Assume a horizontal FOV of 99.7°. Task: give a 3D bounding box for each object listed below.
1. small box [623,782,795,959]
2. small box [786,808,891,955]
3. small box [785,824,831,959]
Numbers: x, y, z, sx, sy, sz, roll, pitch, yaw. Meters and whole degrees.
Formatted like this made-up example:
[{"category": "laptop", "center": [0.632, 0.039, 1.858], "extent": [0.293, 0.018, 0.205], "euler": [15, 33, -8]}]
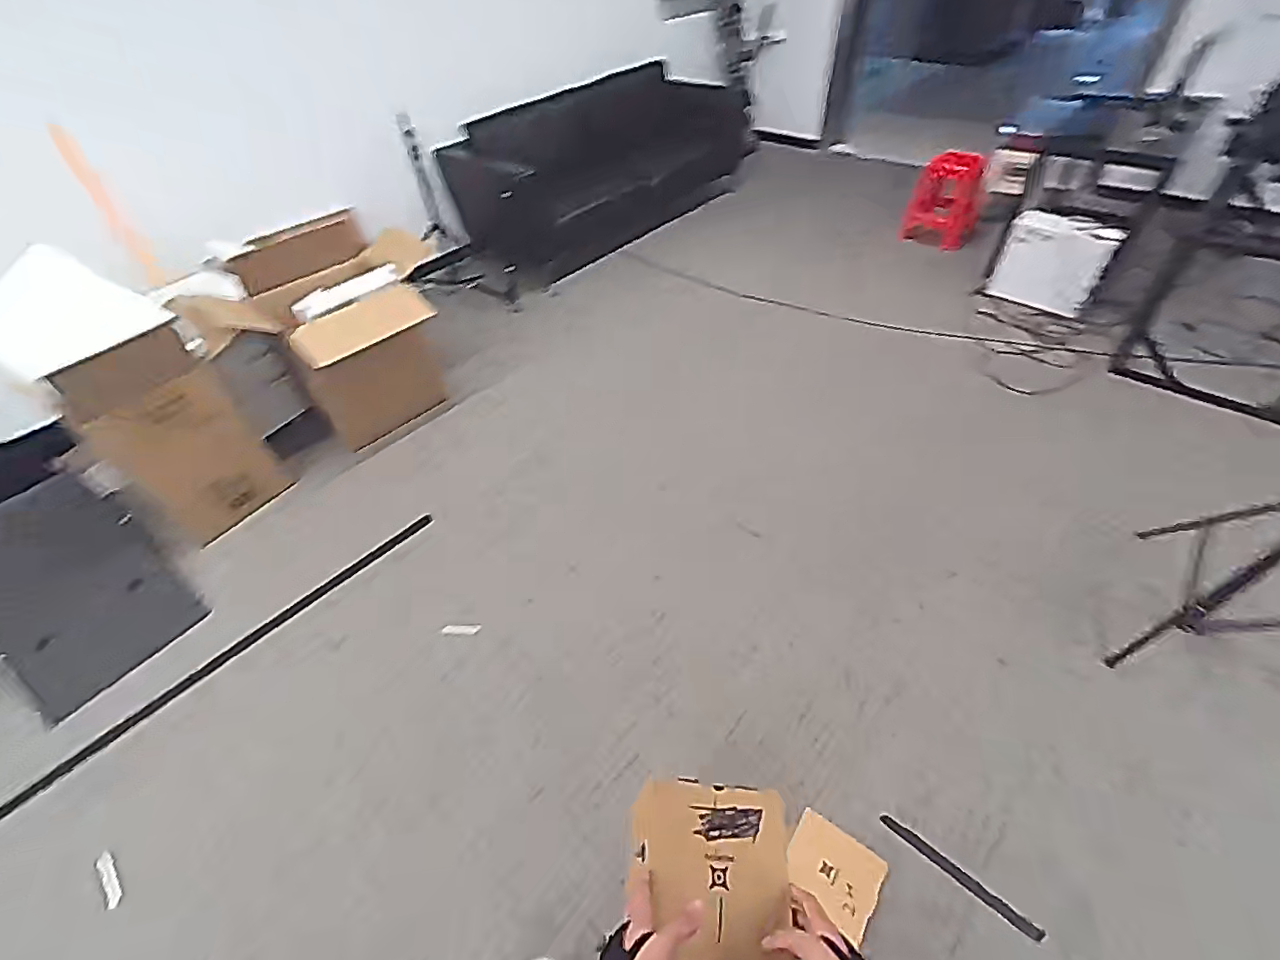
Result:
[{"category": "small box", "center": [0.076, 0.499, 0.671], "extent": [0.168, 0.176, 0.179], "euler": [9, 49, -4]}, {"category": "small box", "center": [0.378, 0.824, 1.106], "extent": [0.179, 0.176, 0.168], "euler": [27, 54, 28]}, {"category": "small box", "center": [0.376, 0.934, 1.228], "extent": [0.168, 0.176, 0.179], "euler": [28, 55, 29]}]
